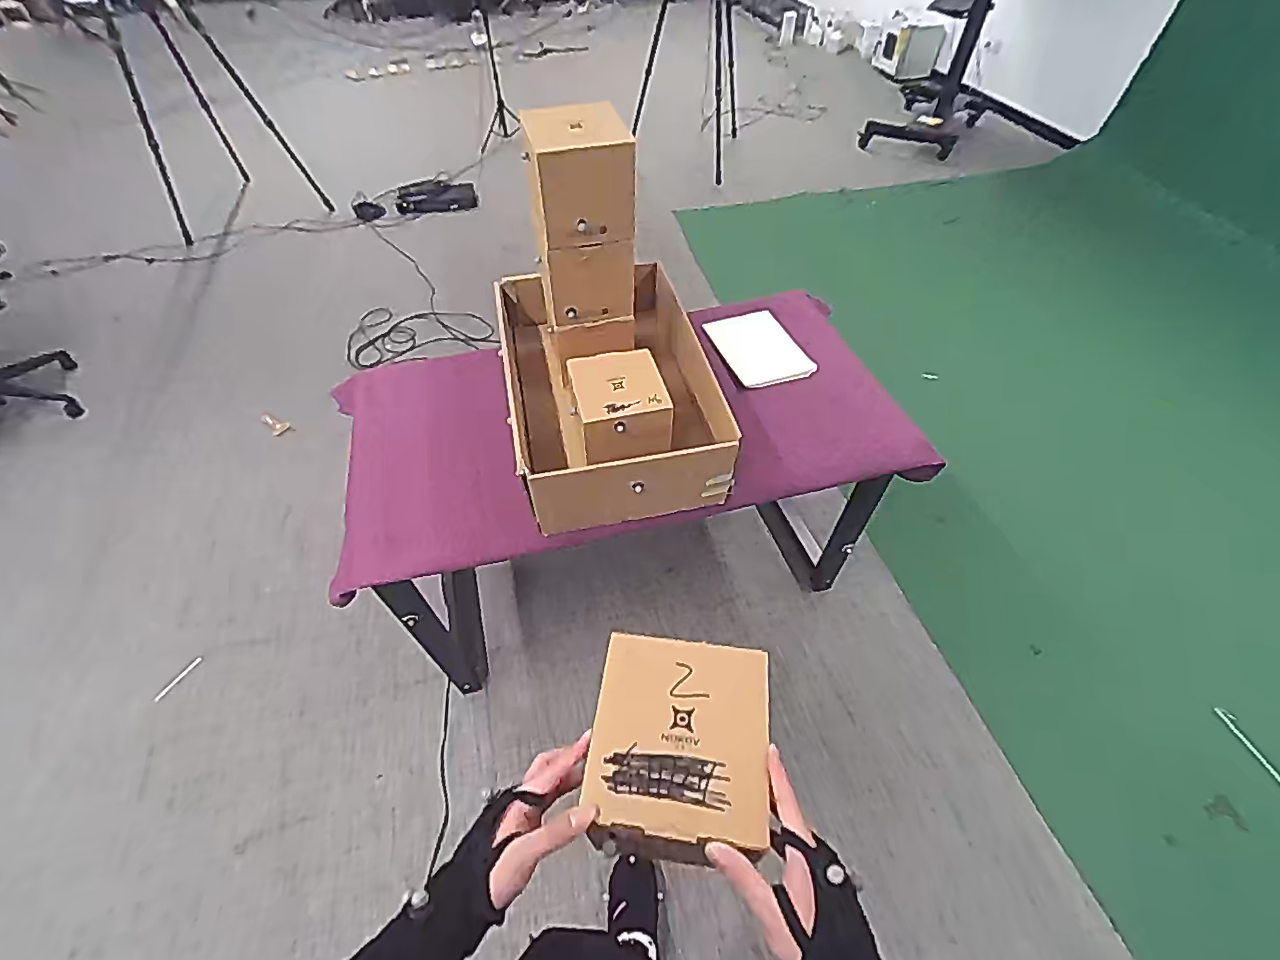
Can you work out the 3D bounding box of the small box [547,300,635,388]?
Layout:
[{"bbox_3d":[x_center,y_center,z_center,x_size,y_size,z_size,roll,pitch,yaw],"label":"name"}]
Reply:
[{"bbox_3d":[-0.114,-0.336,1.224,0.168,0.176,0.179,-12,55,-10],"label":"small box"}]

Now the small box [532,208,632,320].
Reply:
[{"bbox_3d":[-0.114,-0.441,1.098,0.168,0.176,0.179,-12,54,-11],"label":"small box"}]

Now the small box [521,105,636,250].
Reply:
[{"bbox_3d":[-0.110,-0.539,0.968,0.168,0.176,0.179,-13,55,-10],"label":"small box"}]
